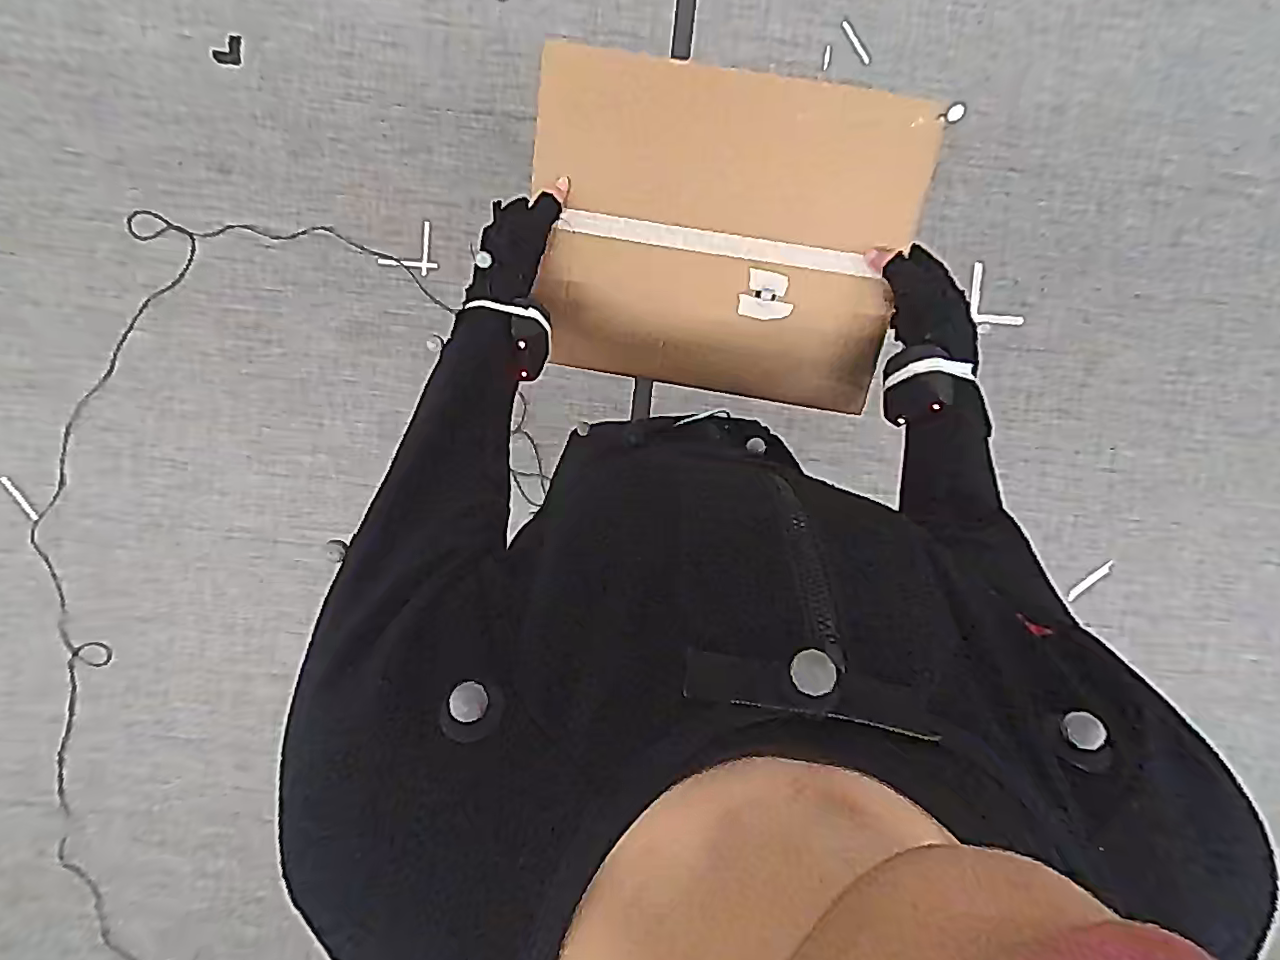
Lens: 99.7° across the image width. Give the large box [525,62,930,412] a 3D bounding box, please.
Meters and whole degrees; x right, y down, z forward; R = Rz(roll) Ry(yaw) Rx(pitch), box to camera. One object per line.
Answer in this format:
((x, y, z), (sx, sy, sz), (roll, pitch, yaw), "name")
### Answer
((0.085, -0.300, 0.738), (0.408, 0.320, 0.320), (10, 110, 0), "large box")
